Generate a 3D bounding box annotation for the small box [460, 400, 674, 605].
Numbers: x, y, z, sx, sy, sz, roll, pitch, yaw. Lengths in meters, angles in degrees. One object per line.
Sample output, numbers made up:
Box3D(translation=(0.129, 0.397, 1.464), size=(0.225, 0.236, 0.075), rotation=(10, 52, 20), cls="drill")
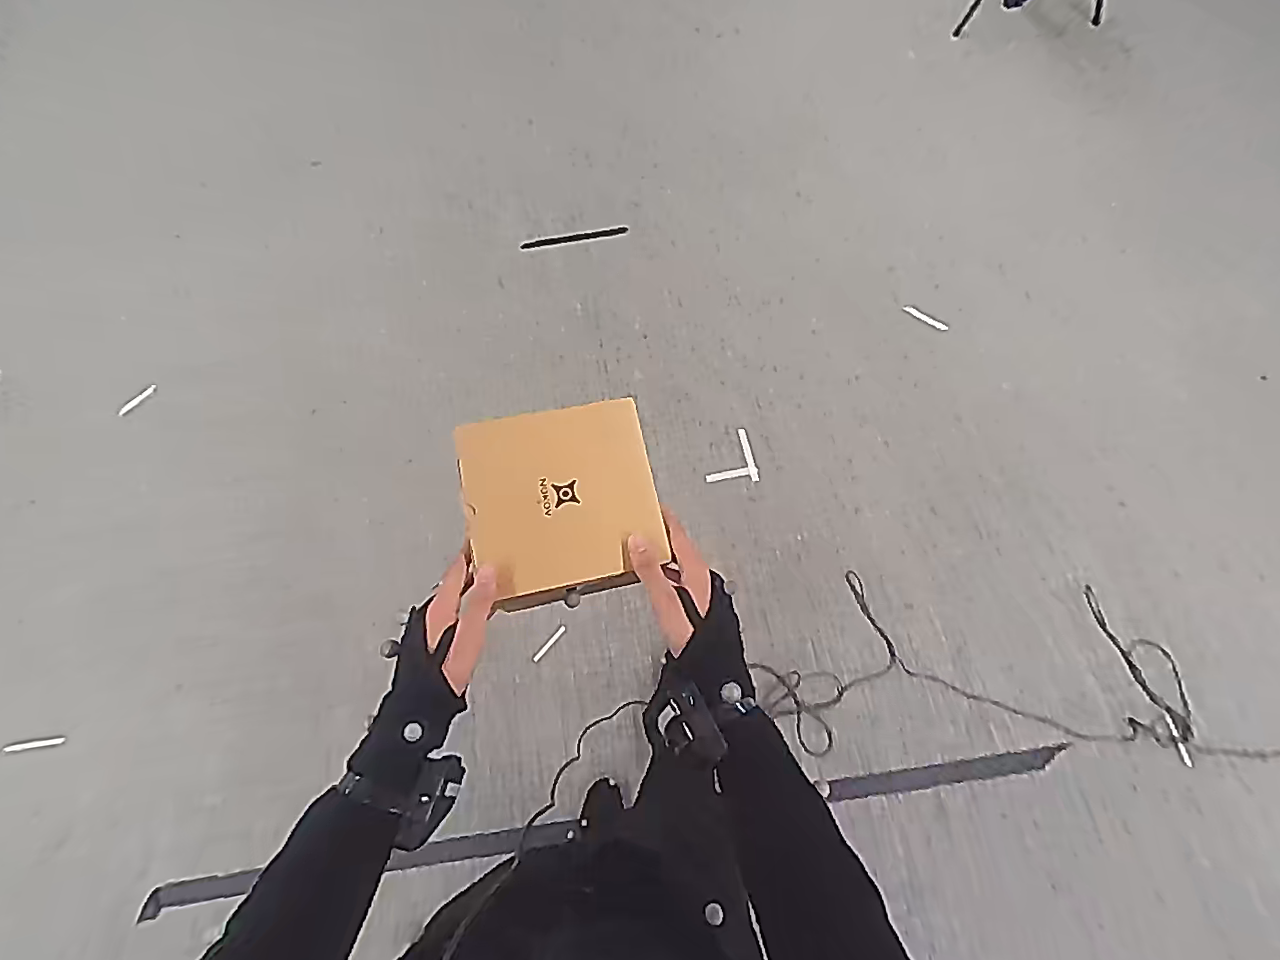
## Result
Box3D(translation=(-0.076, 0.033, 0.575), size=(0.179, 0.176, 0.168), rotation=(-11, 76, -8), cls="small box")
